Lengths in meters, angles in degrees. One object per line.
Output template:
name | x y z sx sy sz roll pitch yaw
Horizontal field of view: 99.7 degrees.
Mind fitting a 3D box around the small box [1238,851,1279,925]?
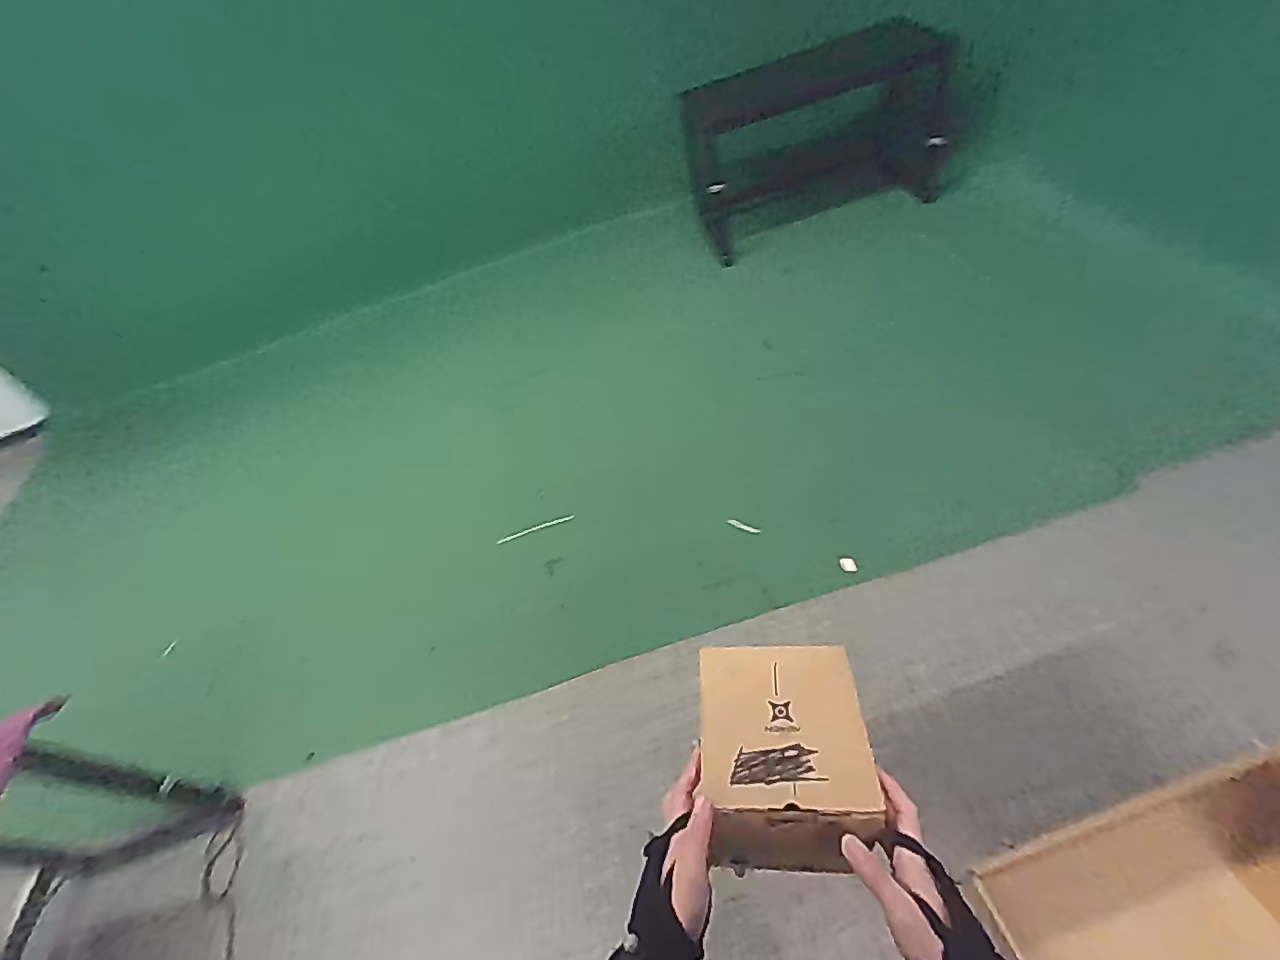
small box | 0.981 0.574 0.711 0.168 0.176 0.179 -23 48 -4

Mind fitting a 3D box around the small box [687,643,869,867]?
small box | 0.141 0.306 0.603 0.168 0.176 0.179 -4 38 7
